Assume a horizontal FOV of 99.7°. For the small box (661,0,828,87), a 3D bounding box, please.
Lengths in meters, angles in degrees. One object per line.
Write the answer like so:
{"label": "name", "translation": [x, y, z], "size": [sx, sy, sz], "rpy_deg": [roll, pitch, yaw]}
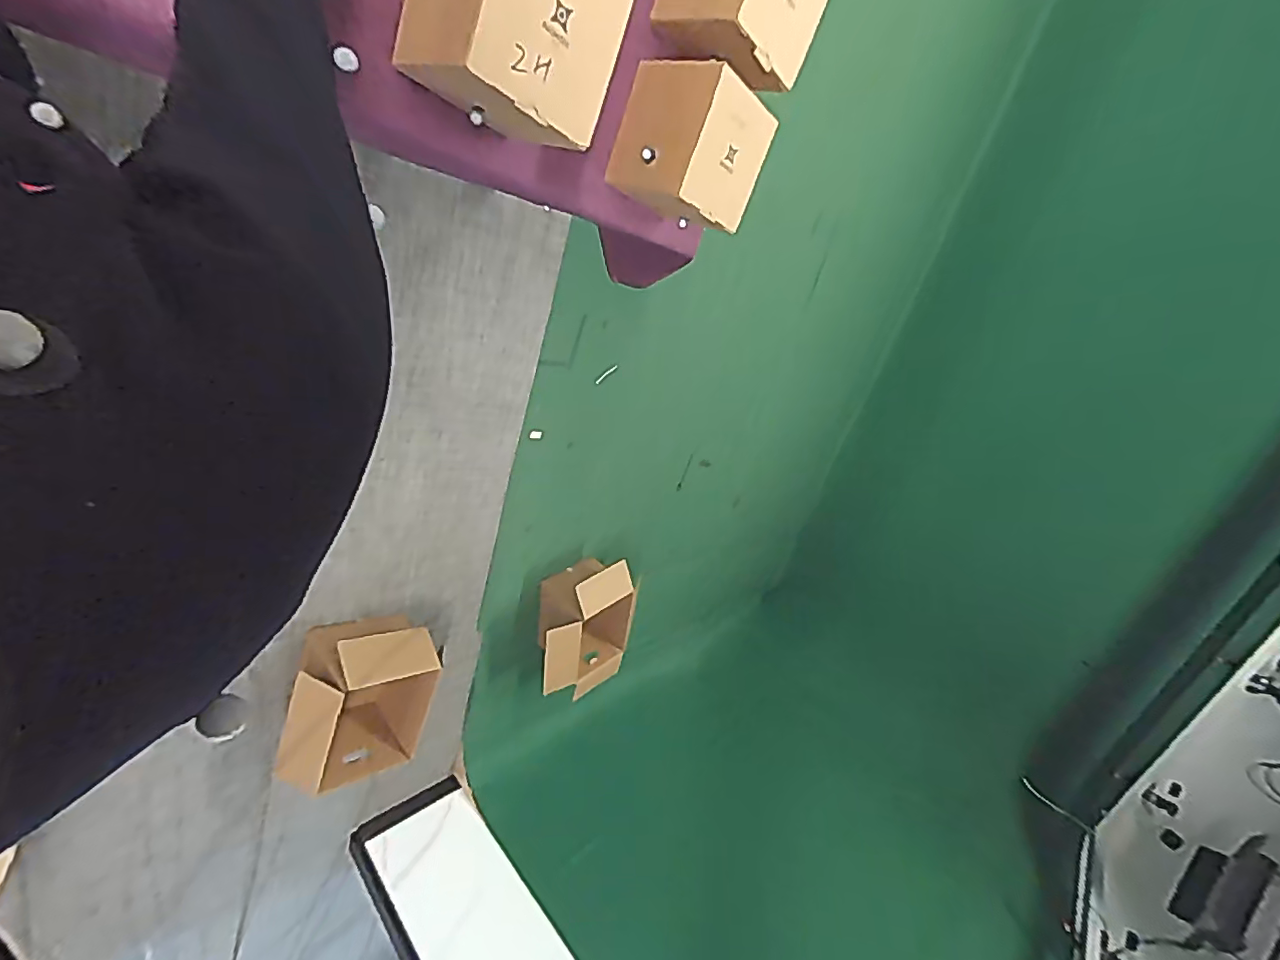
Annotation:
{"label": "small box", "translation": [0.152, -0.712, 0.779], "size": [0.168, 0.176, 0.179], "rpy_deg": [2, 116, -52]}

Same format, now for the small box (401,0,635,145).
{"label": "small box", "translation": [-0.136, -0.506, 0.593], "size": [0.168, 0.176, 0.179], "rpy_deg": [1, 116, -51]}
